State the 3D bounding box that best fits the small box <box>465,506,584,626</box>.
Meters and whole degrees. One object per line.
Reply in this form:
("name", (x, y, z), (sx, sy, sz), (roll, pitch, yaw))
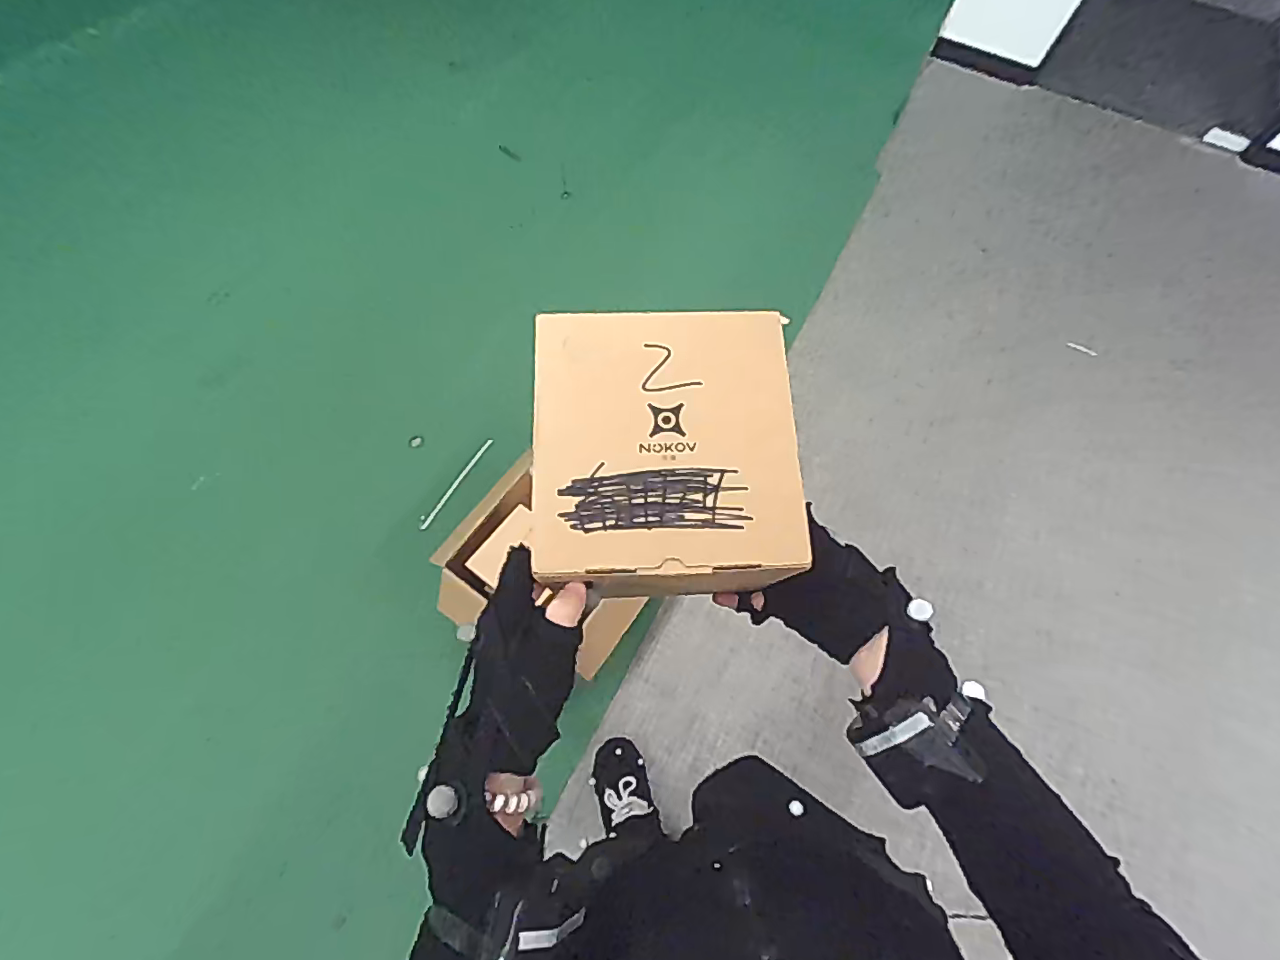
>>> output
("small box", (-0.237, 0.191, 1.152), (0.179, 0.176, 0.168), (36, 70, 12))
